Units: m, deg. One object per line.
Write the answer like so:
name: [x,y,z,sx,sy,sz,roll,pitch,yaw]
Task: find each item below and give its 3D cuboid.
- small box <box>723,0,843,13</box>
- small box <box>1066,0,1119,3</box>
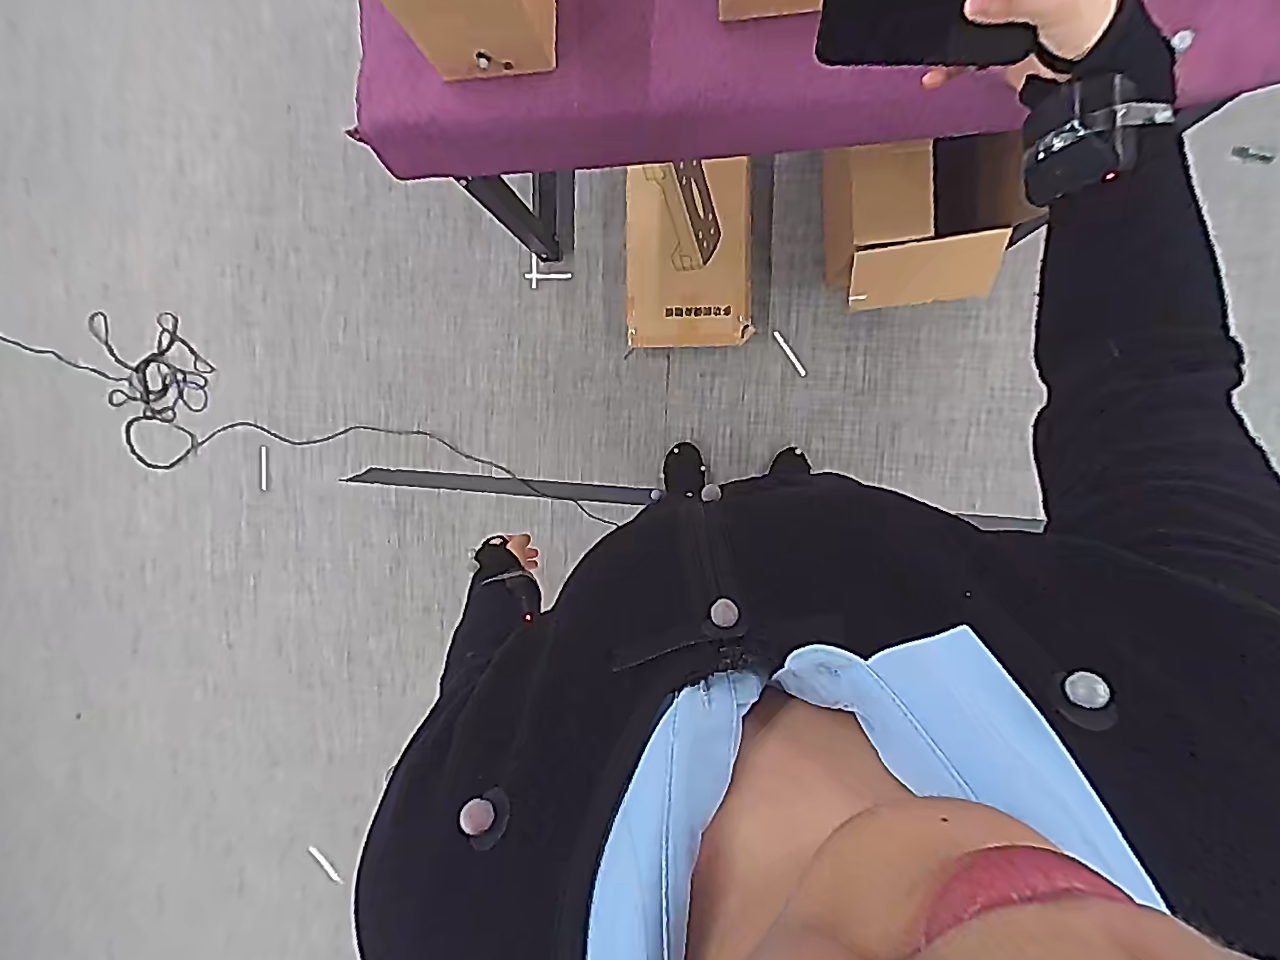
small box: [0.184,-0.676,0.605,0.179,0.176,0.168,1,93,9]
small box: [0.498,-0.645,0.560,0.179,0.176,0.168,8,96,8]
